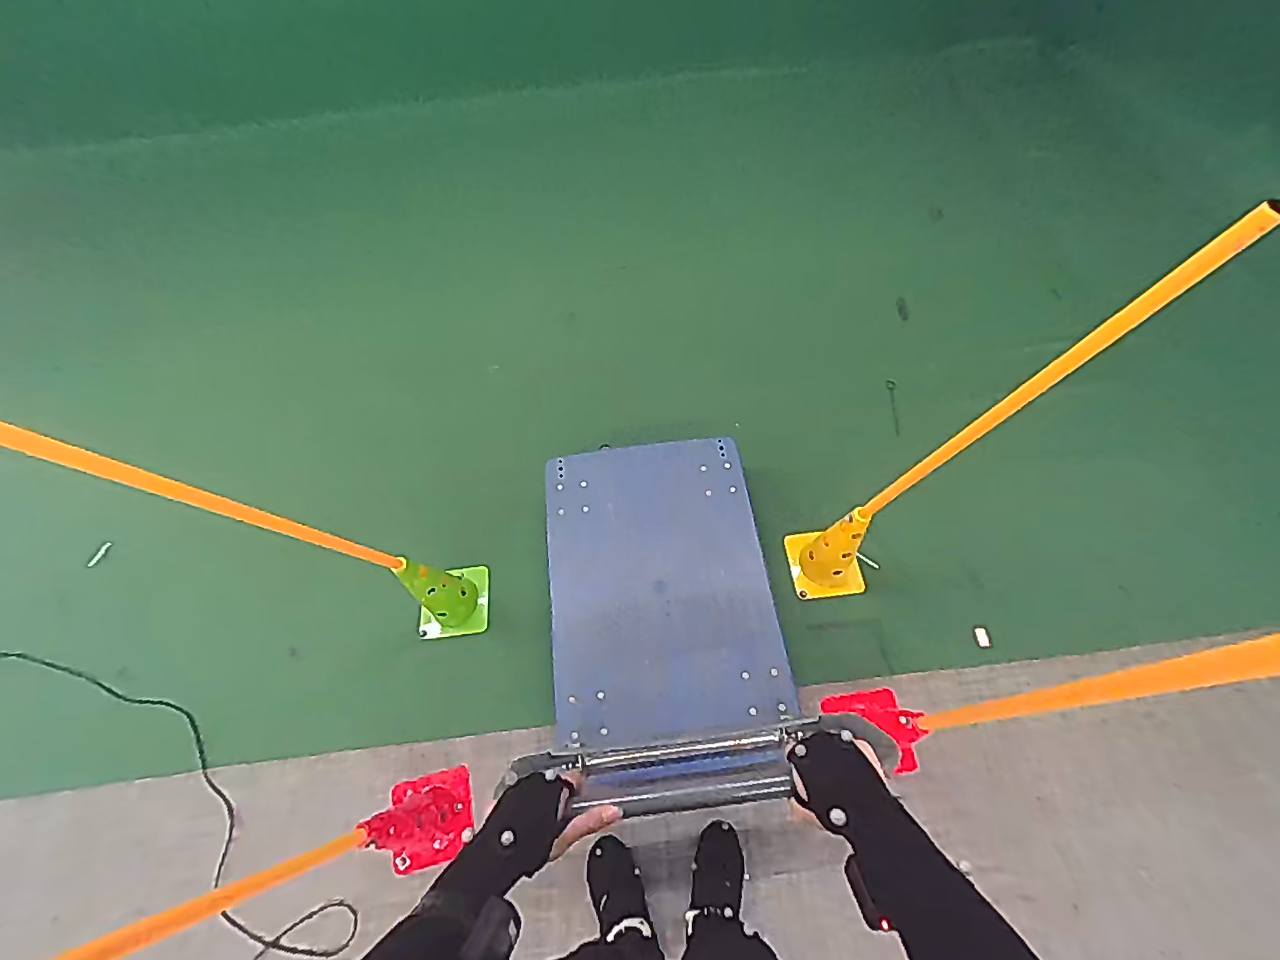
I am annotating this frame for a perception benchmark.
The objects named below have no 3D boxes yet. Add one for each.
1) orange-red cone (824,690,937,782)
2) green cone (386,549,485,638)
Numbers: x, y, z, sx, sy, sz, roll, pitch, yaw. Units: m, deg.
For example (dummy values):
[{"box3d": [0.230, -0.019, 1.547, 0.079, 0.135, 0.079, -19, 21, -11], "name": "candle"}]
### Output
[{"box3d": [0.570, 0.559, 1.213, 0.198, 0.360, 0.199, -7, 60, -1], "name": "orange-red cone"}, {"box3d": [-0.564, 0.271, 1.428, 0.200, 0.368, 0.202, -8, 61, 0], "name": "green cone"}]
